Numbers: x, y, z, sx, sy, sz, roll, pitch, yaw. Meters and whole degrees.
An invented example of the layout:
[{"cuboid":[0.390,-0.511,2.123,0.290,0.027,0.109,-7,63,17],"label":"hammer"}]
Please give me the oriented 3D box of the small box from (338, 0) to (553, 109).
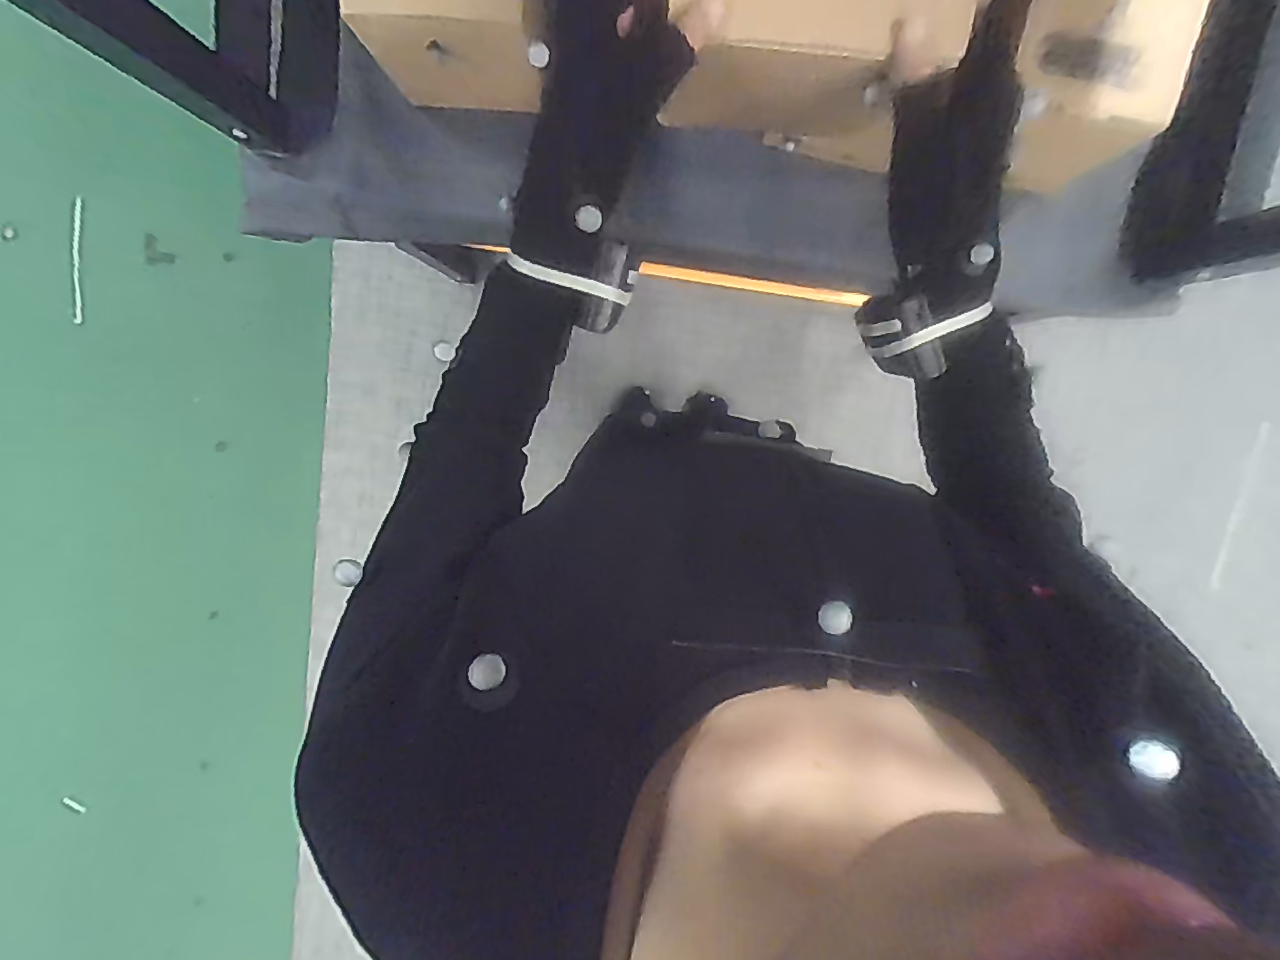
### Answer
[{"cuboid":[-0.195,-0.531,0.580,0.179,0.176,0.168,3,100,-1],"label":"small box"}]
